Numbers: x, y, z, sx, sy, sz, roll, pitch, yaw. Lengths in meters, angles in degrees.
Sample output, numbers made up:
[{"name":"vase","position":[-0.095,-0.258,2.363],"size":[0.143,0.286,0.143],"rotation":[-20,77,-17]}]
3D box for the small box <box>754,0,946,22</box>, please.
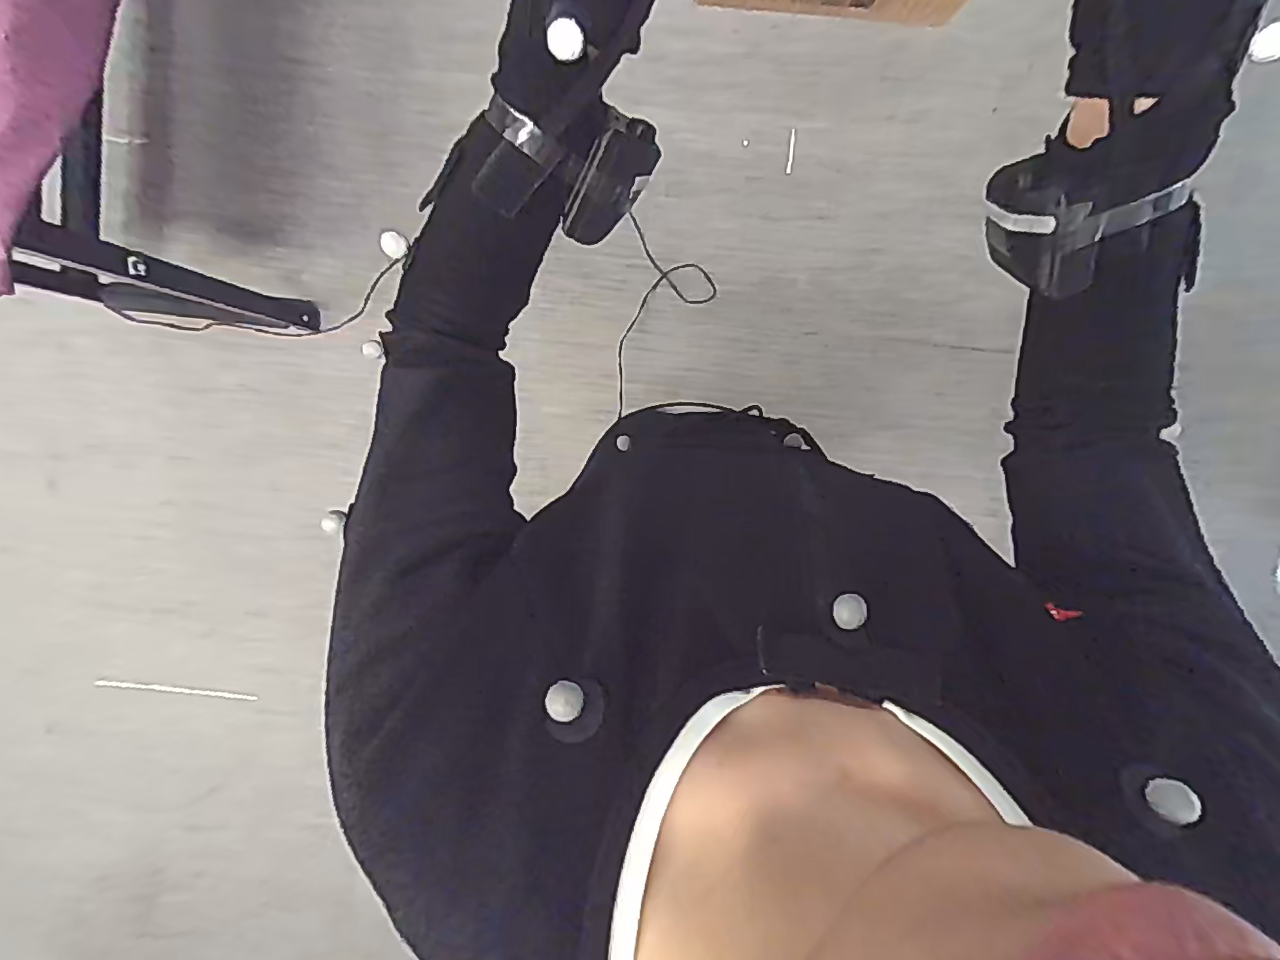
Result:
[{"name":"small box","position":[0.121,-0.375,0.256],"size":[0.168,0.176,0.179],"rotation":[6,102,1]}]
